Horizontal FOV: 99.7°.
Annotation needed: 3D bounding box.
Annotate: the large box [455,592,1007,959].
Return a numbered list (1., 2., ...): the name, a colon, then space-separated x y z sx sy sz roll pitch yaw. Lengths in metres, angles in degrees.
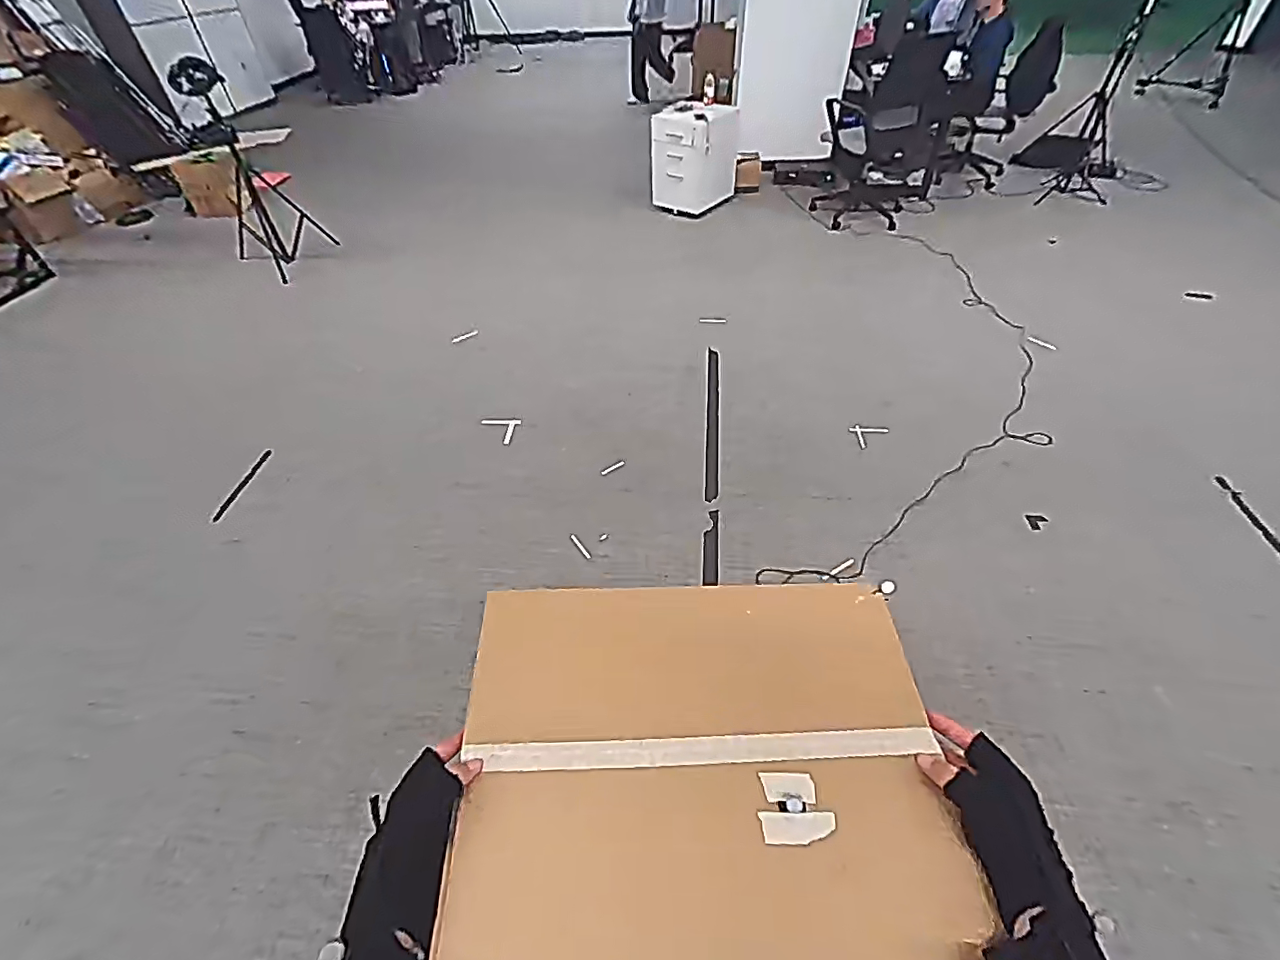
1. large box: 0.055 0.337 0.583 0.408 0.320 0.320 -1 51 -2
